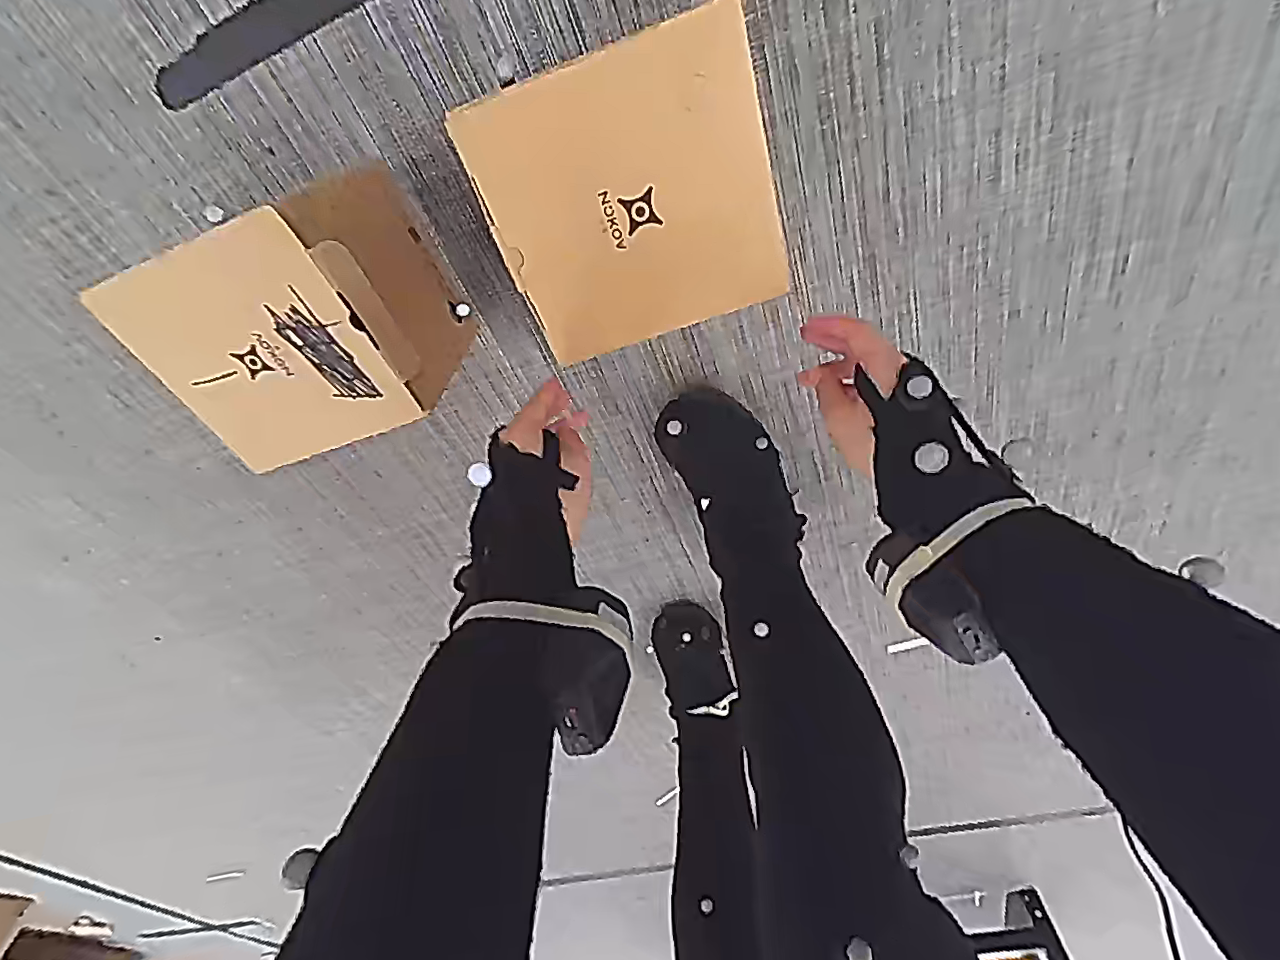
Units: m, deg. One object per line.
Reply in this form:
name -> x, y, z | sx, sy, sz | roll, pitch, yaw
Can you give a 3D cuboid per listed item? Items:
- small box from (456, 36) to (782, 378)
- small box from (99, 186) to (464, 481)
small box -> -0.006, -0.209, 0.415 | 0.179, 0.176, 0.168 | -15, 127, 11
small box -> -0.274, -0.130, 0.470 | 0.179, 0.176, 0.168 | -16, 126, 12
